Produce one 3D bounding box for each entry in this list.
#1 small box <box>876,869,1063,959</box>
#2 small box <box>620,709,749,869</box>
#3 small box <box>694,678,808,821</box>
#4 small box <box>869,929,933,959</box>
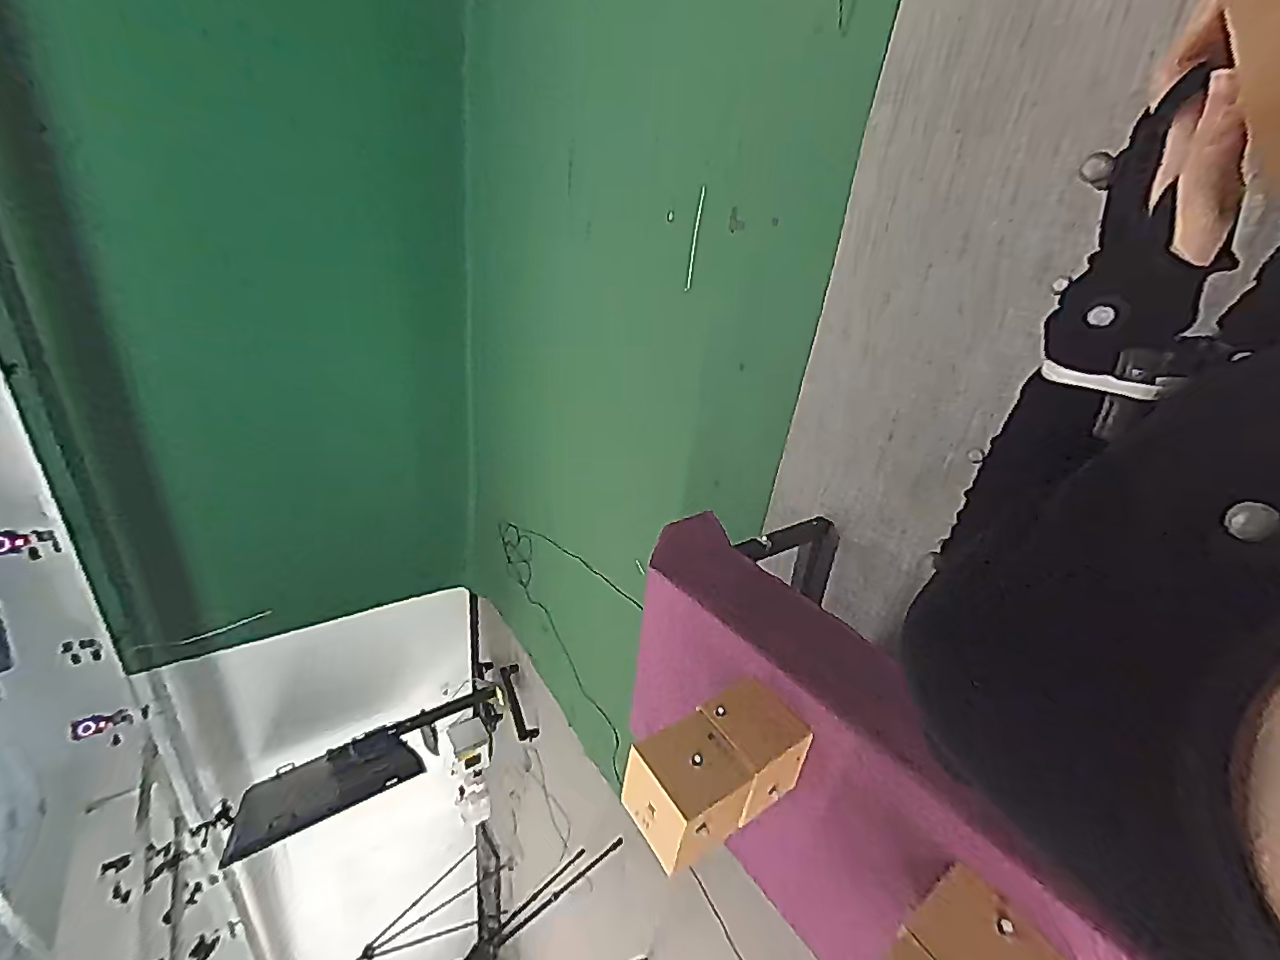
[{"bbox_3d":[0.478,0.723,0.797,0.179,0.176,0.168,36,128,46],"label":"small box"},{"bbox_3d":[0.084,0.579,1.034,0.168,0.176,0.179,40,130,44],"label":"small box"},{"bbox_3d":[0.219,0.547,1.124,0.179,0.176,0.168,37,129,45],"label":"small box"},{"bbox_3d":[0.343,0.754,0.709,0.168,0.176,0.179,38,130,45],"label":"small box"}]
